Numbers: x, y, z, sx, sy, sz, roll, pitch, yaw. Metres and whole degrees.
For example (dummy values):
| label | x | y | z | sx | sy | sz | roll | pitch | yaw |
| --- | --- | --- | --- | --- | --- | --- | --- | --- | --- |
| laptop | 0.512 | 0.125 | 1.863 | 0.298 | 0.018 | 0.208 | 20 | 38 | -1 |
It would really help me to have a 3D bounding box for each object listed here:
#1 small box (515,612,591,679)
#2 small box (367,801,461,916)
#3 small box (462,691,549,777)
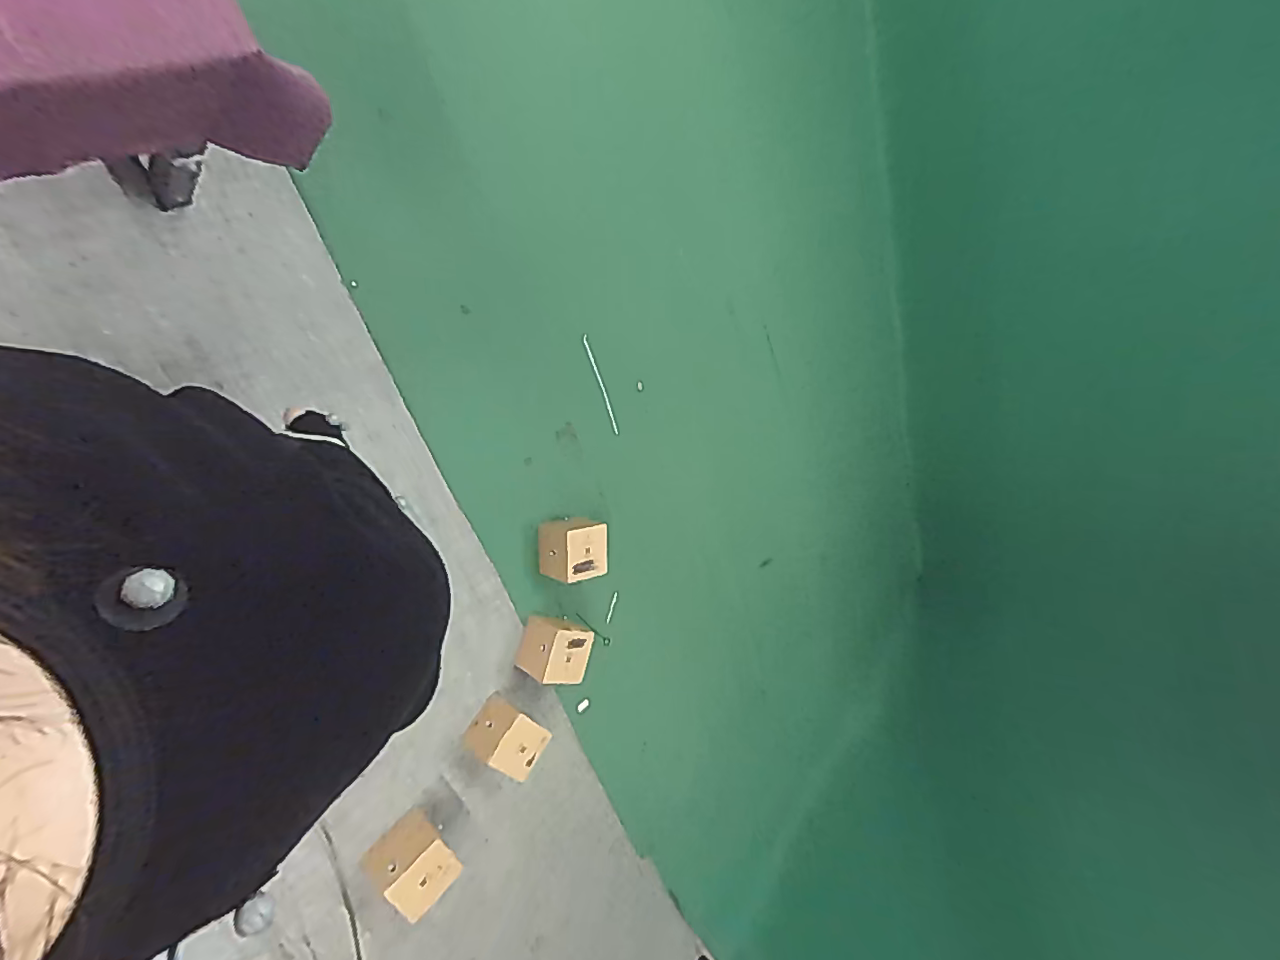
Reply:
| label | x | y | z | sx | sy | sz | roll | pitch | yaw |
| --- | --- | --- | --- | --- | --- | --- | --- | --- | --- |
| small box | -0.297 | 0.555 | 1.824 | 0.168 | 0.176 | 0.179 | 21 | 83 | -44 |
| small box | -0.660 | 1.086 | 1.562 | 0.179 | 0.176 | 0.168 | -39 | 122 | -32 |
| small box | -0.433 | 0.806 | 1.734 | 0.168 | 0.176 | 0.179 | -54 | 128 | -23 |
